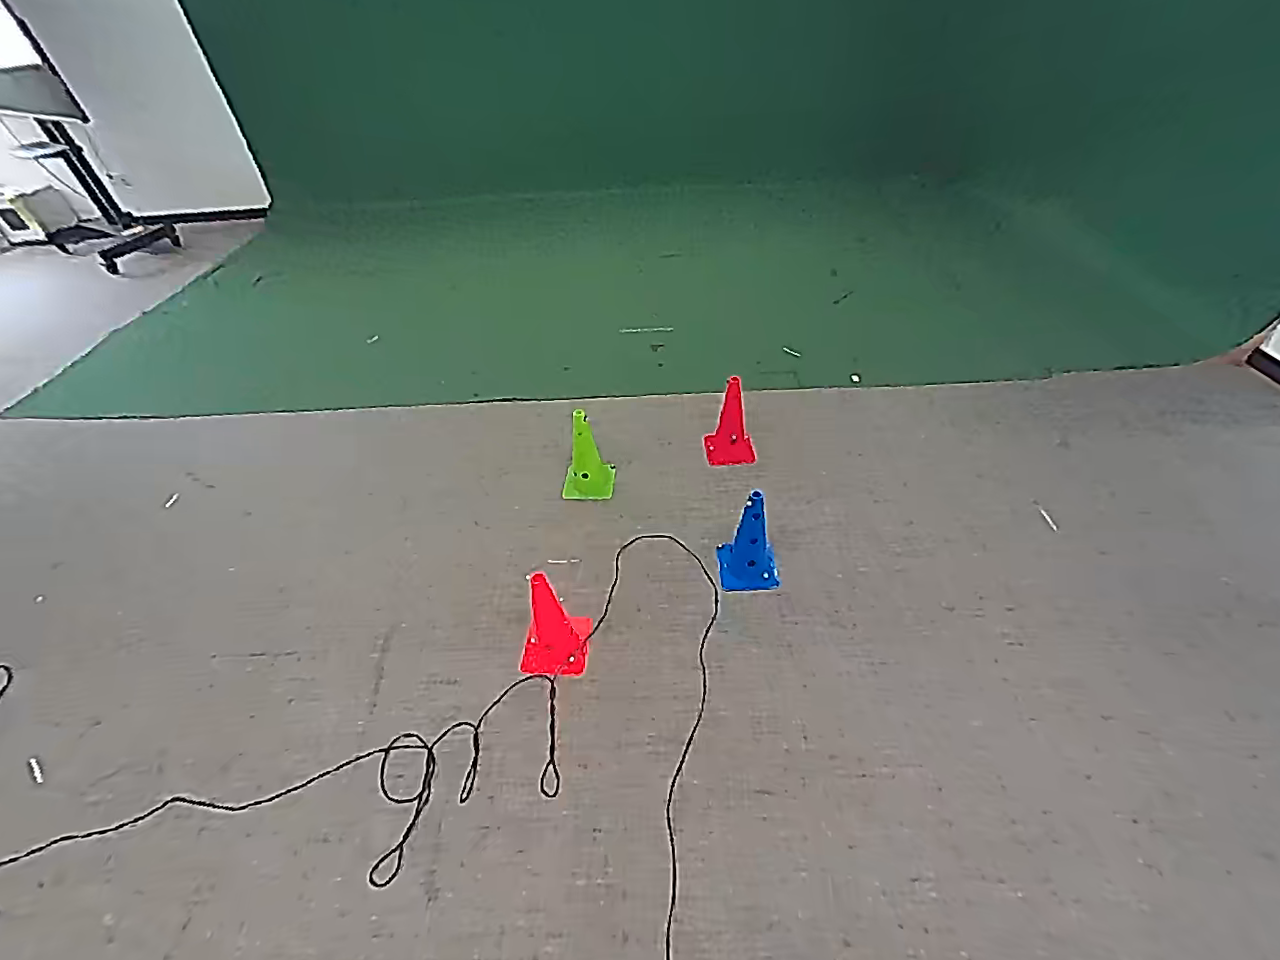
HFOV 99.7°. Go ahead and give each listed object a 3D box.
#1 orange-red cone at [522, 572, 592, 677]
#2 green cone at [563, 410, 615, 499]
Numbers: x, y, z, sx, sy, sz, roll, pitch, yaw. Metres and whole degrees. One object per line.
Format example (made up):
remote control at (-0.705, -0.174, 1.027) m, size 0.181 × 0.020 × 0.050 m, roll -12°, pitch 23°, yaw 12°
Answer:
orange-red cone at (-0.262, 0.389, 1.569) m, size 0.198 × 0.360 × 0.199 m, roll 2°, pitch 42°, yaw 5°
green cone at (-0.217, -0.118, 2.095) m, size 0.200 × 0.368 × 0.202 m, roll -1°, pitch 45°, yaw 4°
